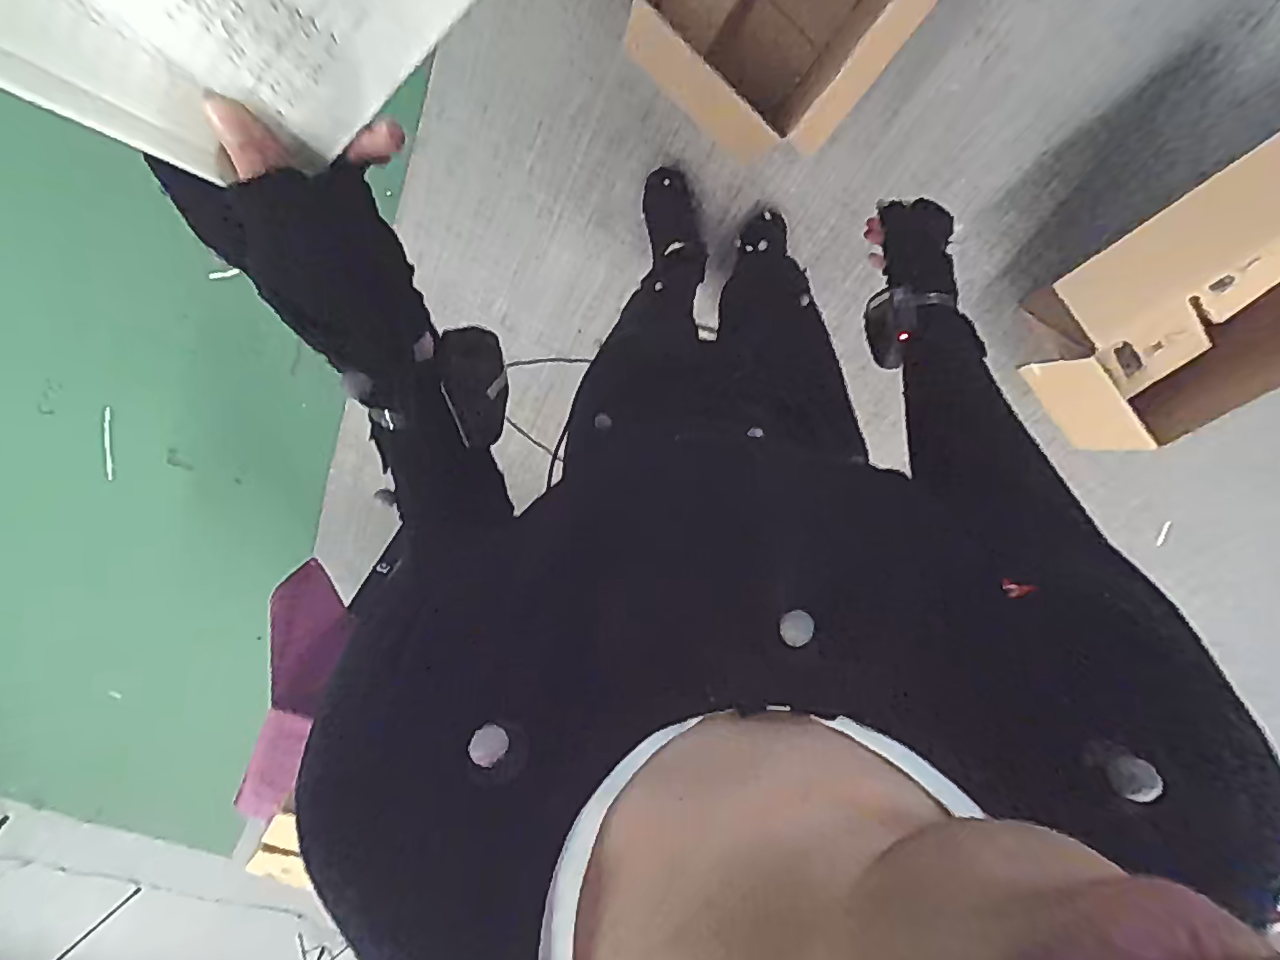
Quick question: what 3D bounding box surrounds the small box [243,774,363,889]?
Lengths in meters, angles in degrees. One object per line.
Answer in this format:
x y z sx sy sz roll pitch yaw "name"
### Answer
-0.800 0.840 1.300 0.168 0.176 0.179 33 120 -17 "small box"
